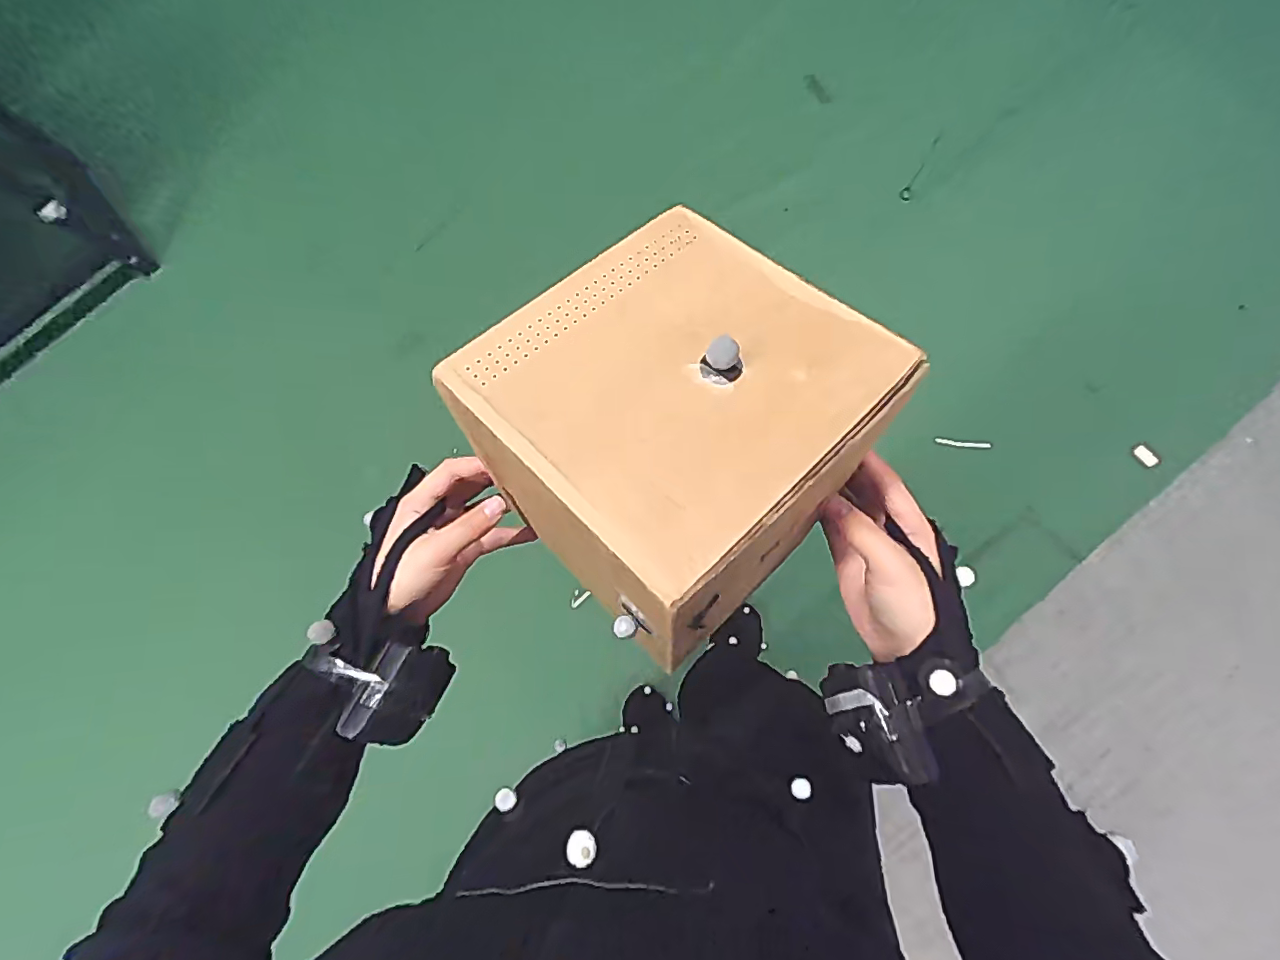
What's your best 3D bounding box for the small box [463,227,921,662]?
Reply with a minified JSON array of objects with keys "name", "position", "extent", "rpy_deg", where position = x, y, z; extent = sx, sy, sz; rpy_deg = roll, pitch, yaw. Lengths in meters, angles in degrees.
[{"name":"small box","position":[0.025,-0.021,0.341],"extent":[0.179,0.168,0.176],"rpy_deg":[-41,68,-18]}]
